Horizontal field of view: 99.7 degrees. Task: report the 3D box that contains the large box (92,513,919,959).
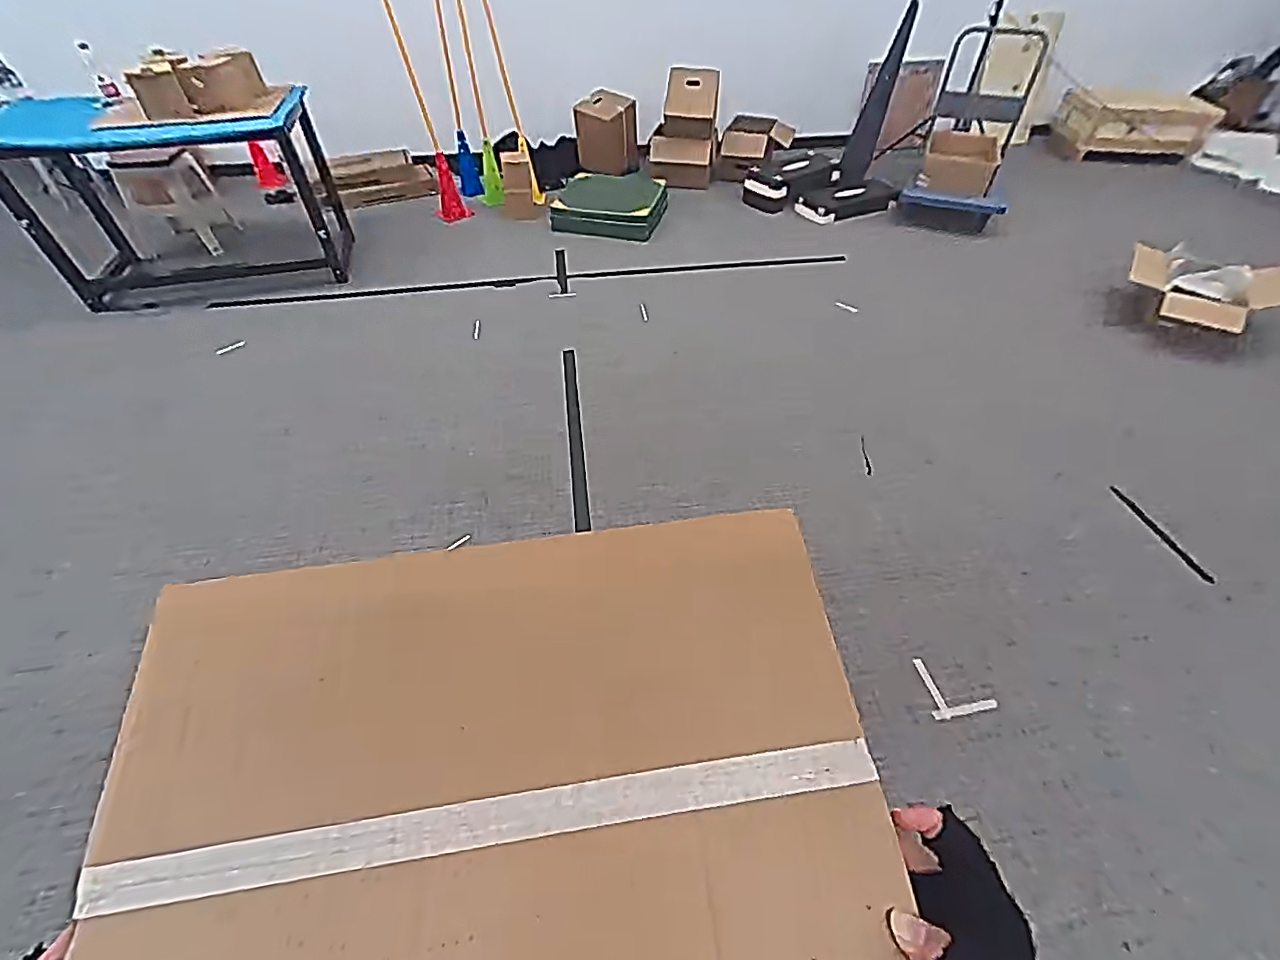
[{"bbox_3d":[-0.075,0.253,0.423,0.408,0.320,0.320,-7,63,-4],"label":"large box"}]
